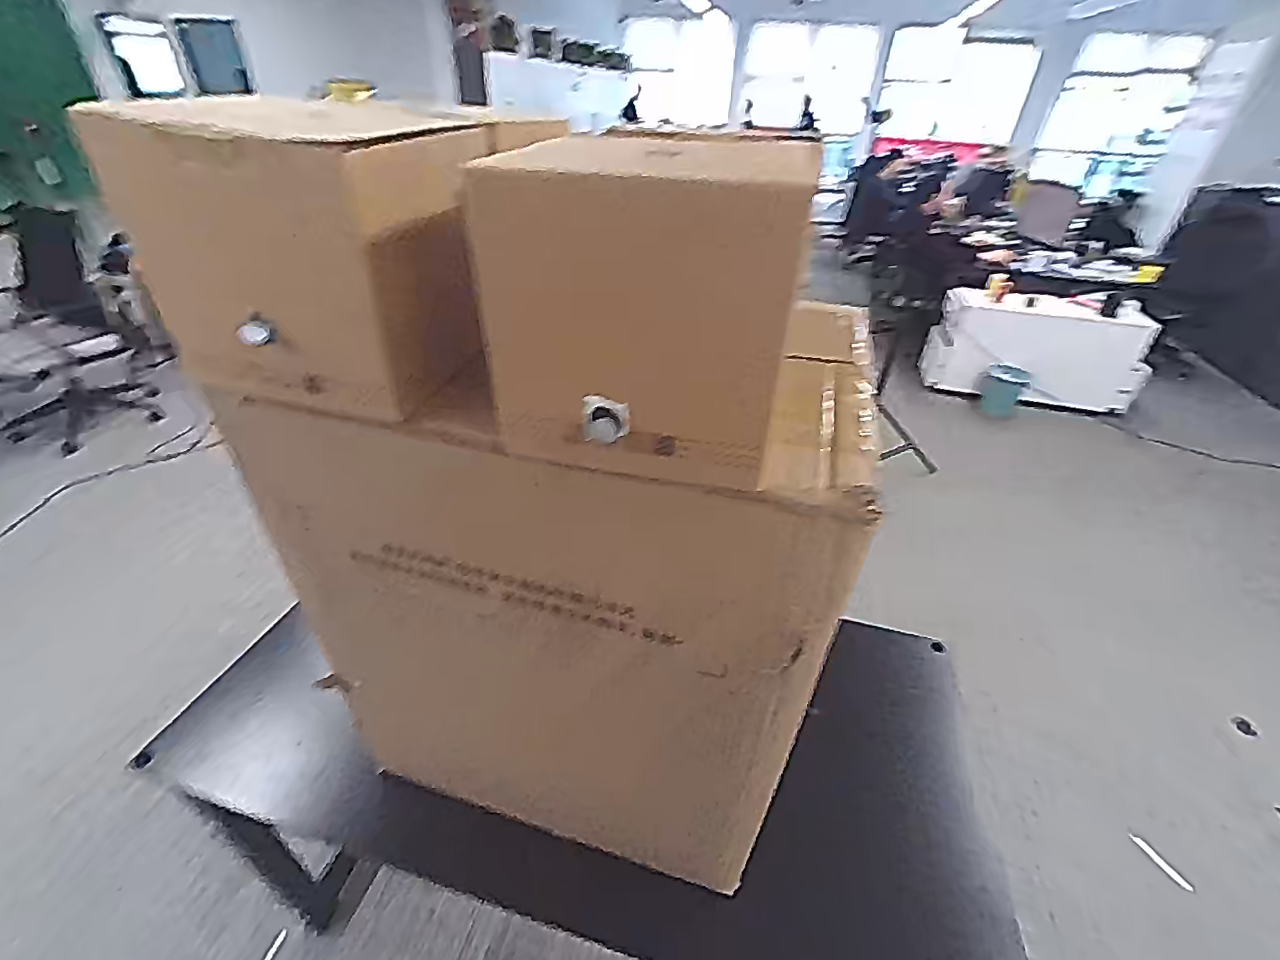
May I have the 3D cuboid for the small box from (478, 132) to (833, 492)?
[{"bbox_3d":[0.018,-0.117,0.352,0.168,0.176,0.179,7,38,9],"label":"small box"}]
